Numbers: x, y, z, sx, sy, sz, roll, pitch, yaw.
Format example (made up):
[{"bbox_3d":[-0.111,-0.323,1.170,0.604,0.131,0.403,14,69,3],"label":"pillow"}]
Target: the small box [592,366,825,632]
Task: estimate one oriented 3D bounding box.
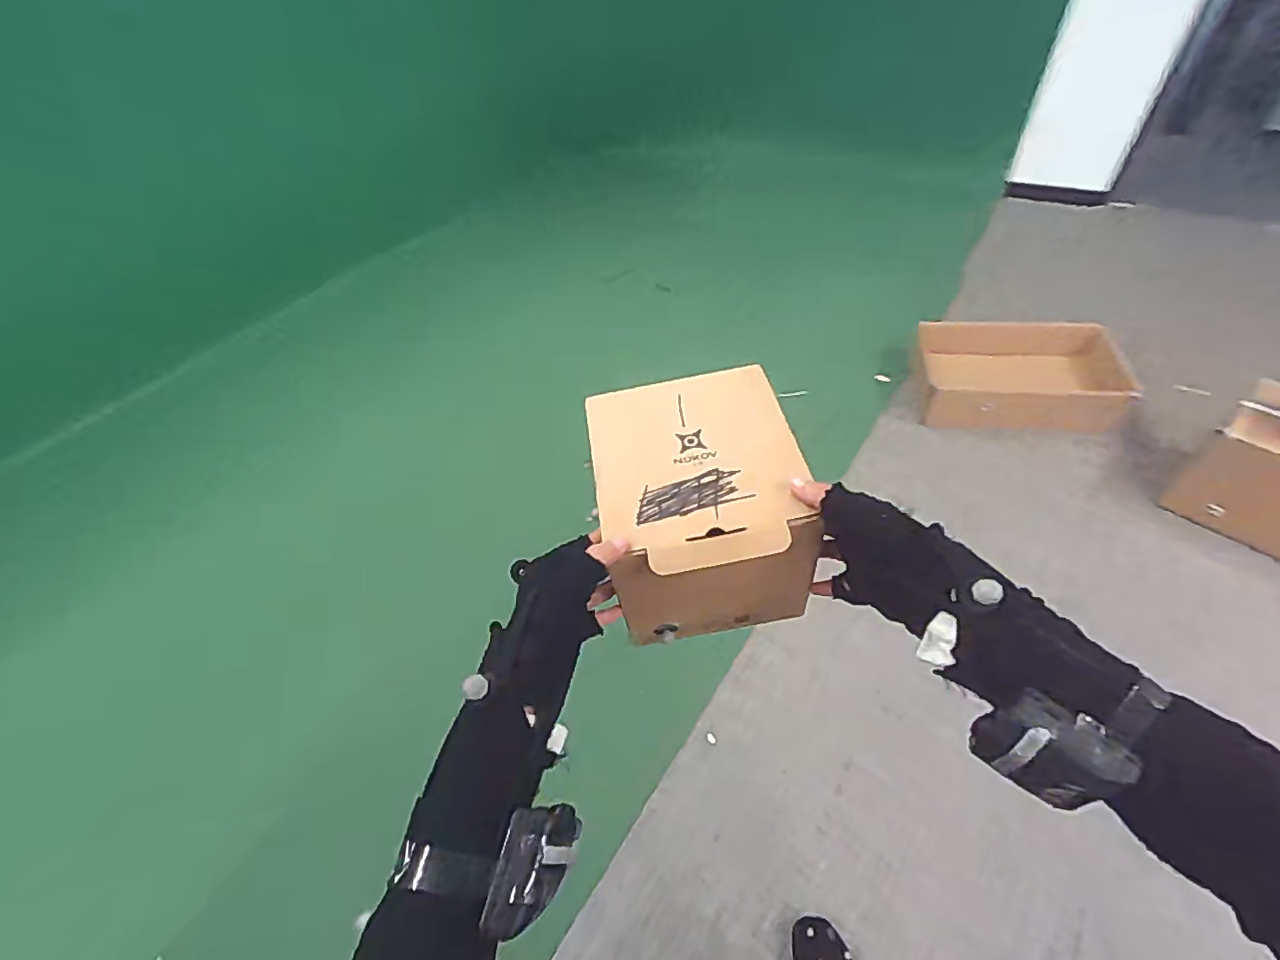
[{"bbox_3d":[0.056,0.026,0.503,0.168,0.176,0.179,-10,50,1],"label":"small box"}]
